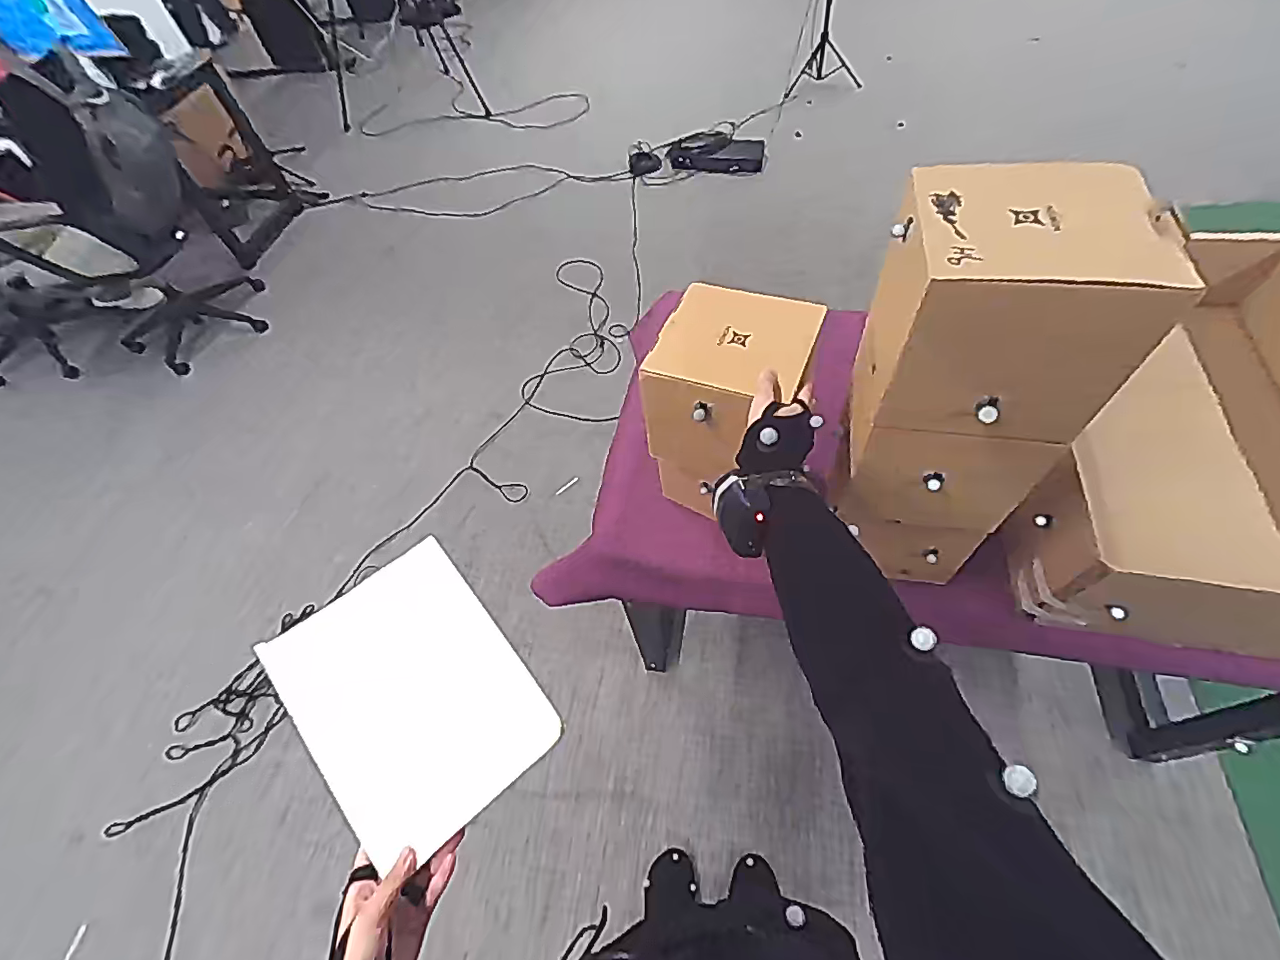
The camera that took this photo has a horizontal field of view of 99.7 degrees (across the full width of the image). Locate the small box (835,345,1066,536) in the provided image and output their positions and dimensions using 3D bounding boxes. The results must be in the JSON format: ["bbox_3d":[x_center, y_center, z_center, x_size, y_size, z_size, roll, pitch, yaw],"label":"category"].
[{"bbox_3d":[0.333,-0.051,0.622,0.179,0.176,0.168,6,54,12],"label":"small box"}]

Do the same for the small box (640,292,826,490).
[{"bbox_3d":[0.119,-0.109,0.693,0.179,0.176,0.168,17,59,19],"label":"small box"}]

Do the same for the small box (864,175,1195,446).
[{"bbox_3d":[0.316,-0.148,0.490,0.179,0.176,0.168,7,55,11],"label":"small box"}]
